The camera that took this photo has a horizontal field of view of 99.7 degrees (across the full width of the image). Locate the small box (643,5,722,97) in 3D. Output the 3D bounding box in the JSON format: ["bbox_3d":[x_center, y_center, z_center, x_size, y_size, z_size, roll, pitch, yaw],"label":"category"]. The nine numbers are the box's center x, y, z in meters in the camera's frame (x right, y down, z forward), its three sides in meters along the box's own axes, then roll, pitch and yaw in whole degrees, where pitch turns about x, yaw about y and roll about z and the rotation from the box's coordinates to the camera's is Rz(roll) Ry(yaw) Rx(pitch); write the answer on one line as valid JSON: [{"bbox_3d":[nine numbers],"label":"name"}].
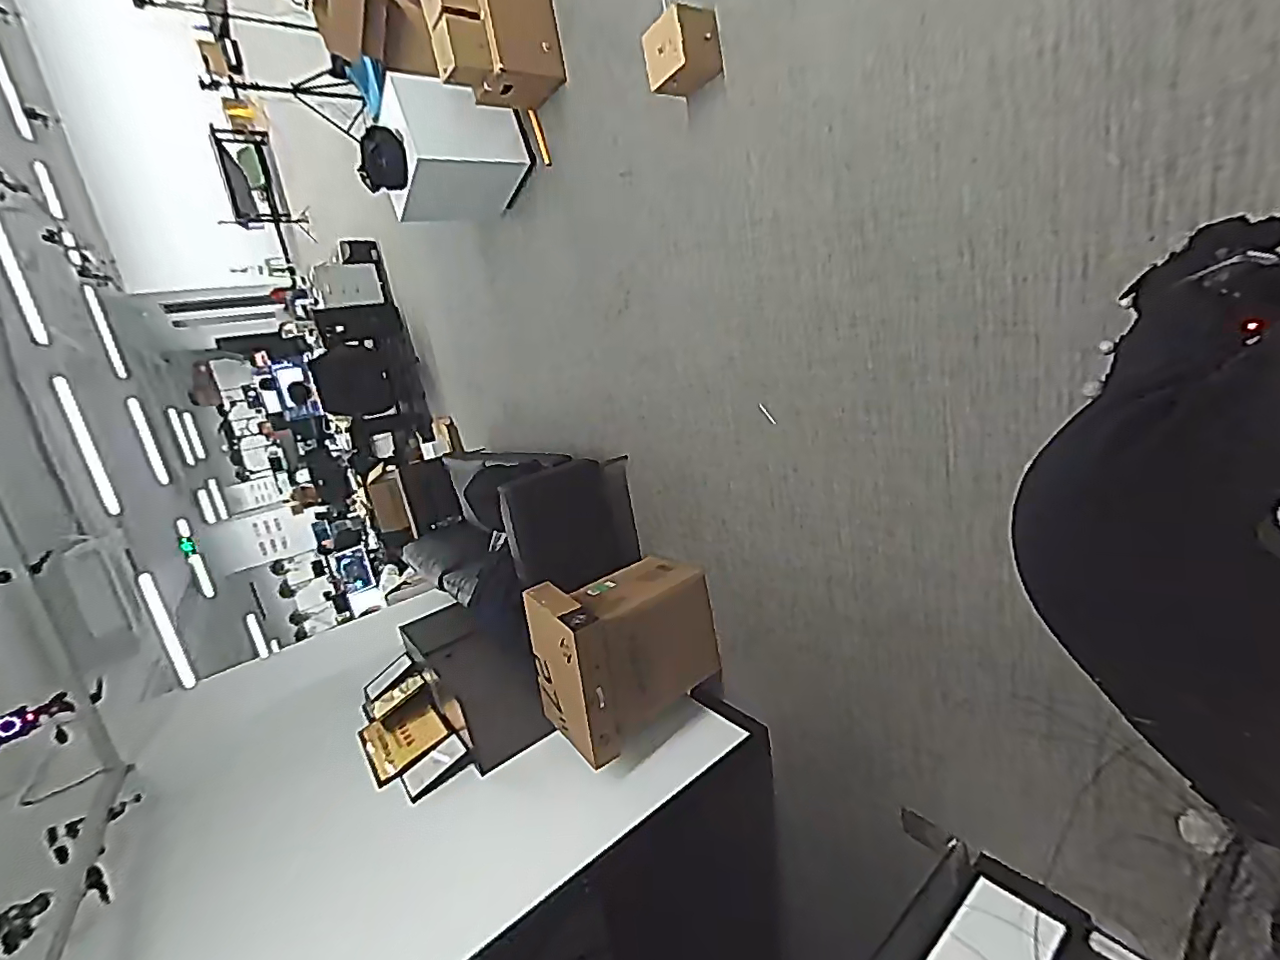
[{"bbox_3d":[0.137,-1.359,1.728,0.179,0.176,0.168,5,112,54],"label":"small box"}]
